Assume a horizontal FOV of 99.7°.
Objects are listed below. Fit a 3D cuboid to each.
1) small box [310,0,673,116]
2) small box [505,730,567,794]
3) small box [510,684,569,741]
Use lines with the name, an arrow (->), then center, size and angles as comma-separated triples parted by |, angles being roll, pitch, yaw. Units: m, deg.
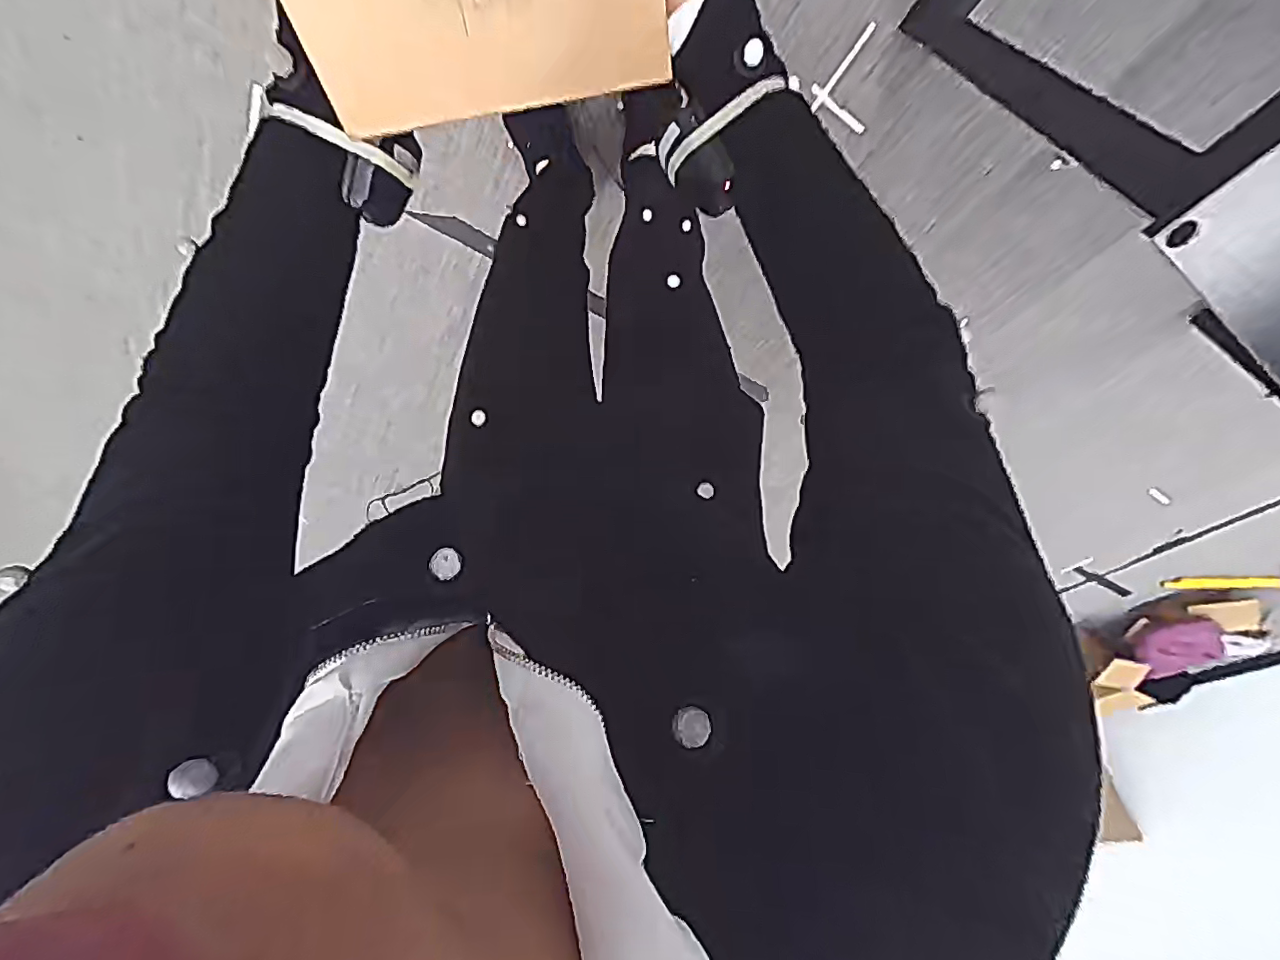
small box -> -0.078, -0.315, 0.261 | 0.168, 0.176, 0.179 | -6, 141, 5
small box -> -0.367, 1.007, 1.932 | 0.179, 0.176, 0.168 | 15, 134, -19
small box -> -0.378, 0.888, 2.047 | 0.179, 0.176, 0.168 | 16, 134, -19
